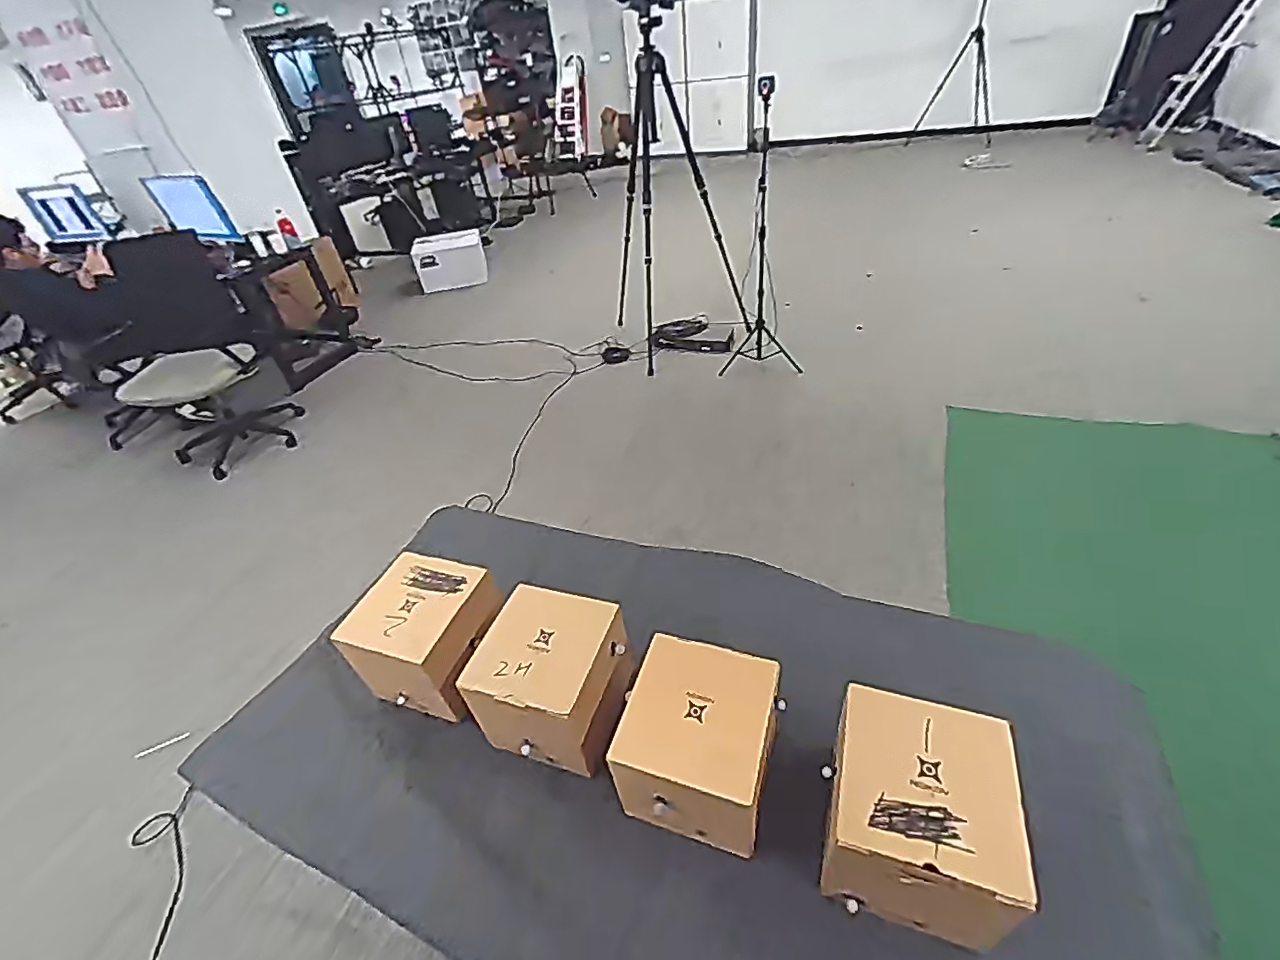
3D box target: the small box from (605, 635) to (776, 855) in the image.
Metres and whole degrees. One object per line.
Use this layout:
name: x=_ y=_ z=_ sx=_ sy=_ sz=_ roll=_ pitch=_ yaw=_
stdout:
small box: x=0.074 y=0.333 z=0.685 sx=0.168 sy=0.176 sz=0.179 roll=8 pitch=41 yaw=20

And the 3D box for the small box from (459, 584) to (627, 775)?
small box: x=-0.124 y=0.283 z=0.778 sx=0.168 sy=0.176 sz=0.179 roll=8 pitch=41 yaw=19
